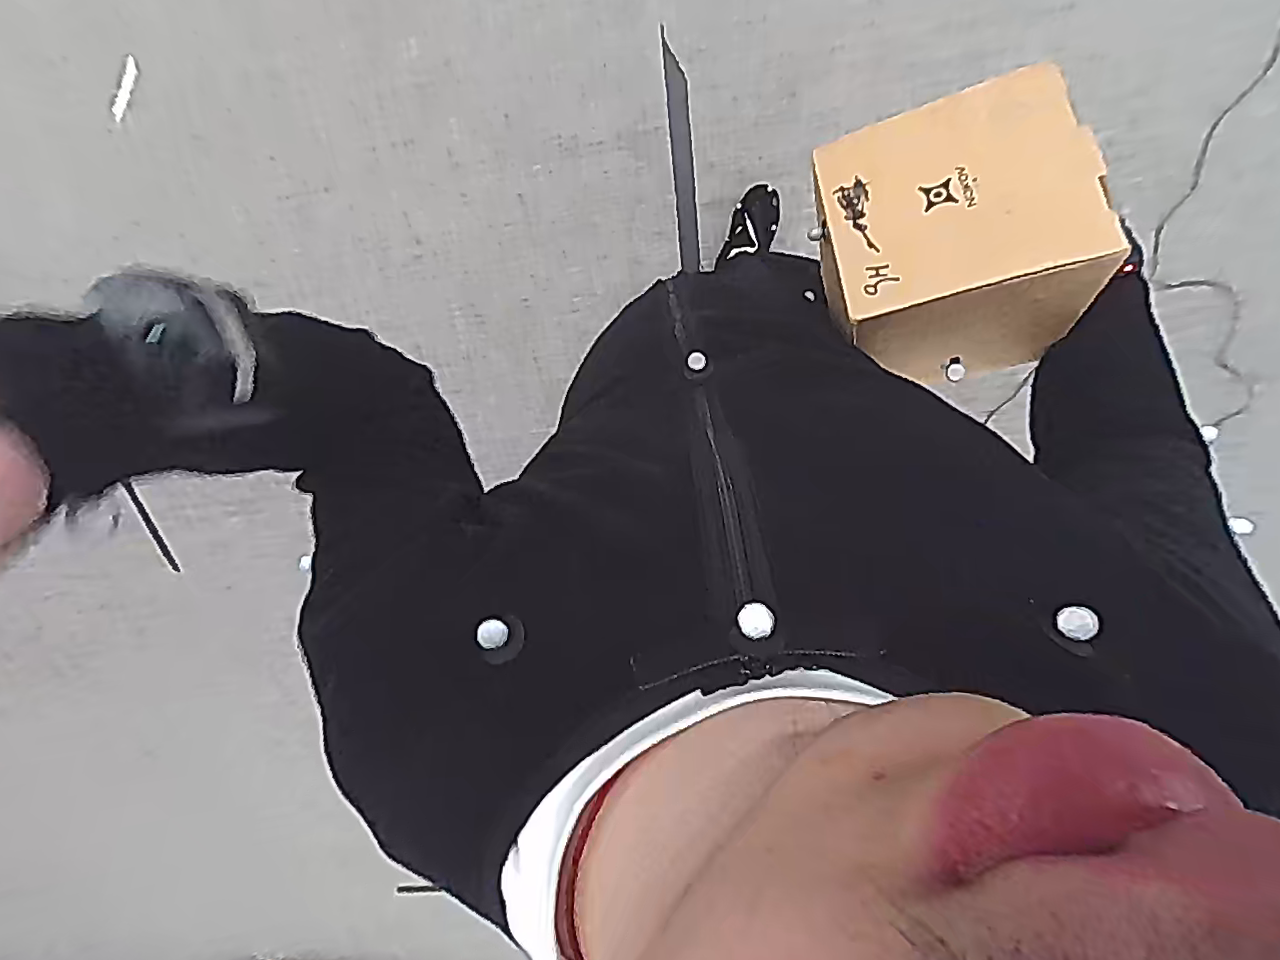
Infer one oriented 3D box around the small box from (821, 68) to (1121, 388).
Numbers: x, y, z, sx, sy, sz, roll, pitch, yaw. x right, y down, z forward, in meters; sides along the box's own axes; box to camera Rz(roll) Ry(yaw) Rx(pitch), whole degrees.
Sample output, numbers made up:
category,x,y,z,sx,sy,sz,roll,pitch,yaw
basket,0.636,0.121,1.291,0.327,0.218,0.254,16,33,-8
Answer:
category,x,y,z,sx,sy,sz,roll,pitch,yaw
small box,0.266,-0.202,0.485,0.179,0.176,0.168,-11,73,18
